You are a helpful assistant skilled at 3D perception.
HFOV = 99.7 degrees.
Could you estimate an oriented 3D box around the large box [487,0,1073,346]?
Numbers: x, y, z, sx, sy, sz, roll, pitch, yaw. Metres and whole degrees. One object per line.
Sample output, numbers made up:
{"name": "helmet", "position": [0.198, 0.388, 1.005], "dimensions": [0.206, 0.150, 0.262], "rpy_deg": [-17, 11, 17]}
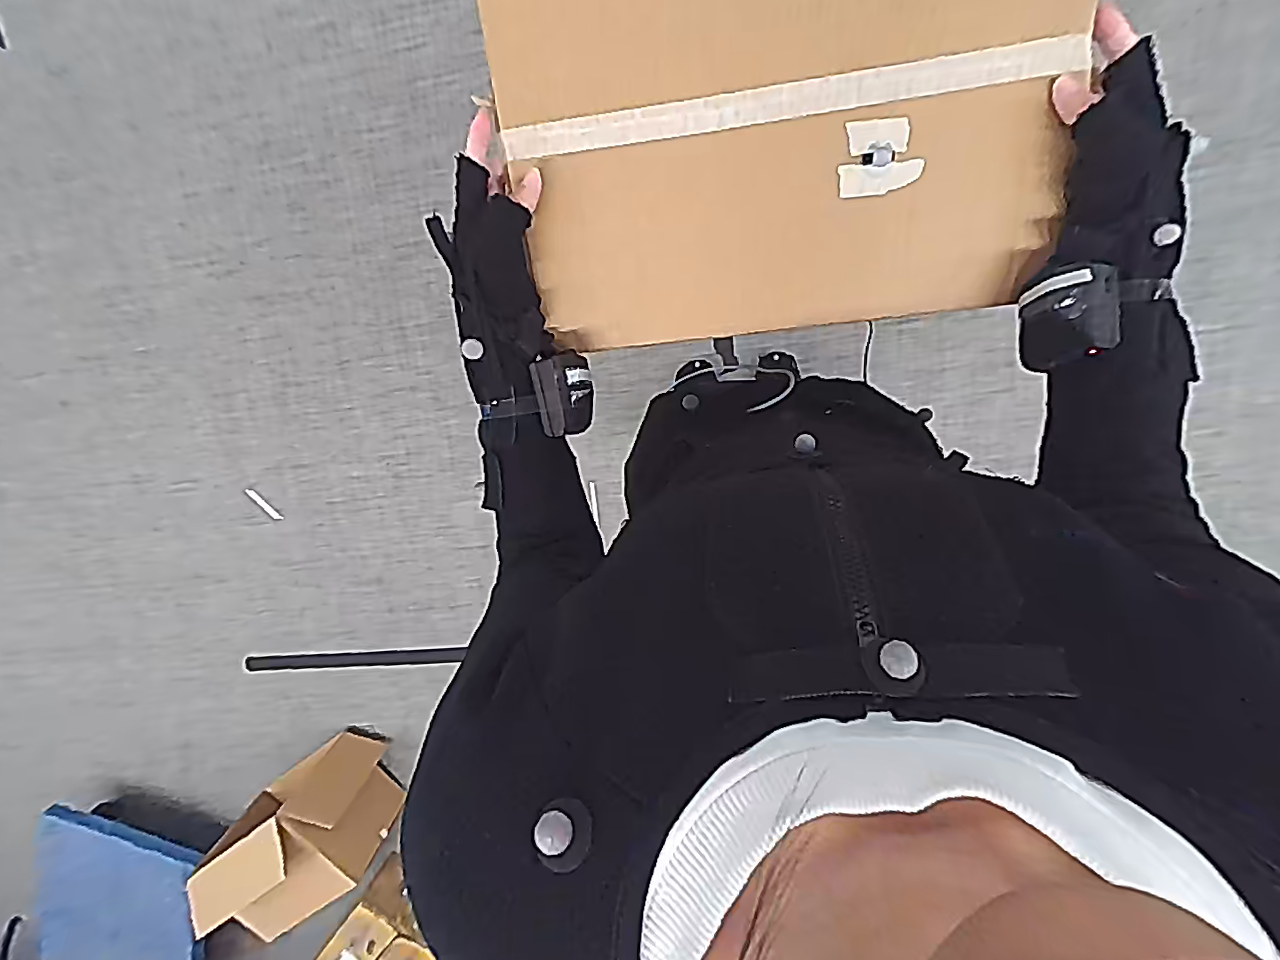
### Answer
{"name": "large box", "position": [0.106, -0.329, 0.534], "dimensions": [0.408, 0.320, 0.320], "rpy_deg": [-6, 110, 5]}
